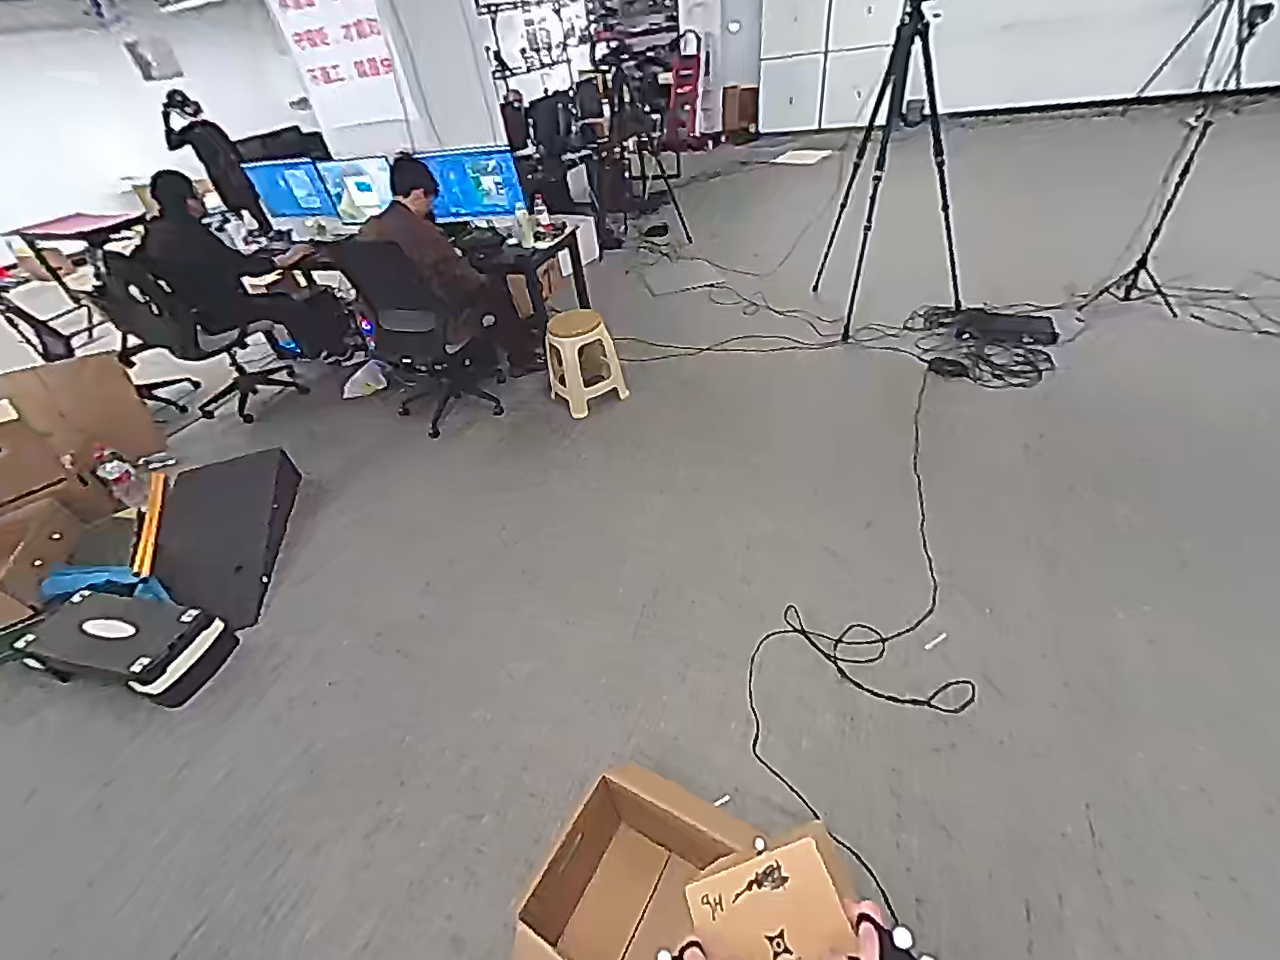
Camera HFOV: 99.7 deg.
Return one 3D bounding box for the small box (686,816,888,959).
[{"bbox_3d":[0.184,0.541,0.658,0.168,0.176,0.179,-30,57,8],"label":"small box"}]
